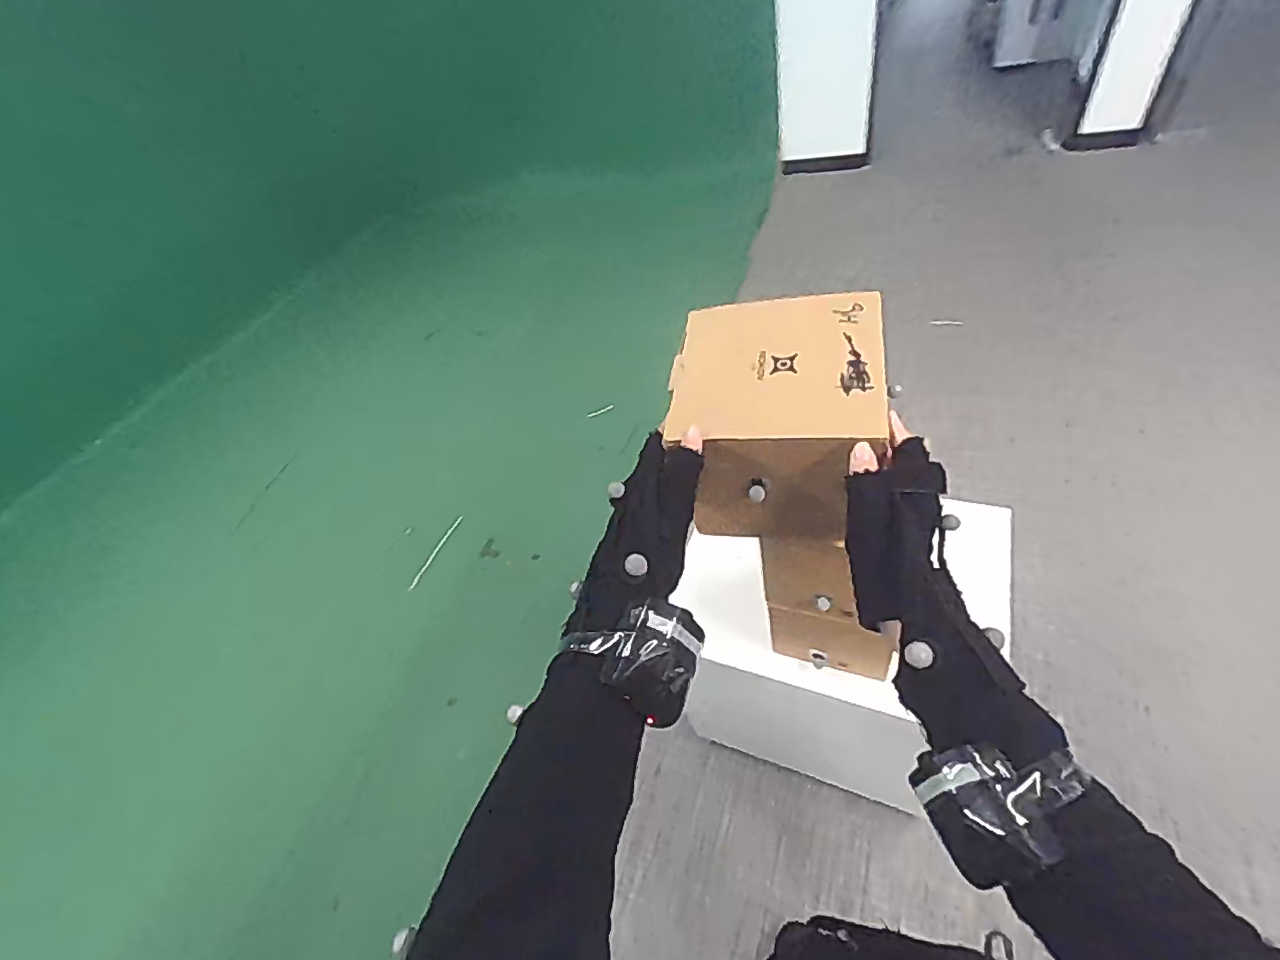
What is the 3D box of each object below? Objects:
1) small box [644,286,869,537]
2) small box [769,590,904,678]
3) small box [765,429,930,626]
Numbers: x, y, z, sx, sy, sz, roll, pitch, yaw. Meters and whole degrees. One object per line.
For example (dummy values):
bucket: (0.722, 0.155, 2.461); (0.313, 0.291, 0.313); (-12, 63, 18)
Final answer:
small box: (0.123, -0.054, 0.517); (0.179, 0.176, 0.168); (-1, 57, 21)
small box: (0.292, 0.160, 0.789); (0.168, 0.176, 0.179); (7, 55, 24)
small box: (0.253, 0.053, 0.671); (0.168, 0.176, 0.179); (6, 51, 23)
